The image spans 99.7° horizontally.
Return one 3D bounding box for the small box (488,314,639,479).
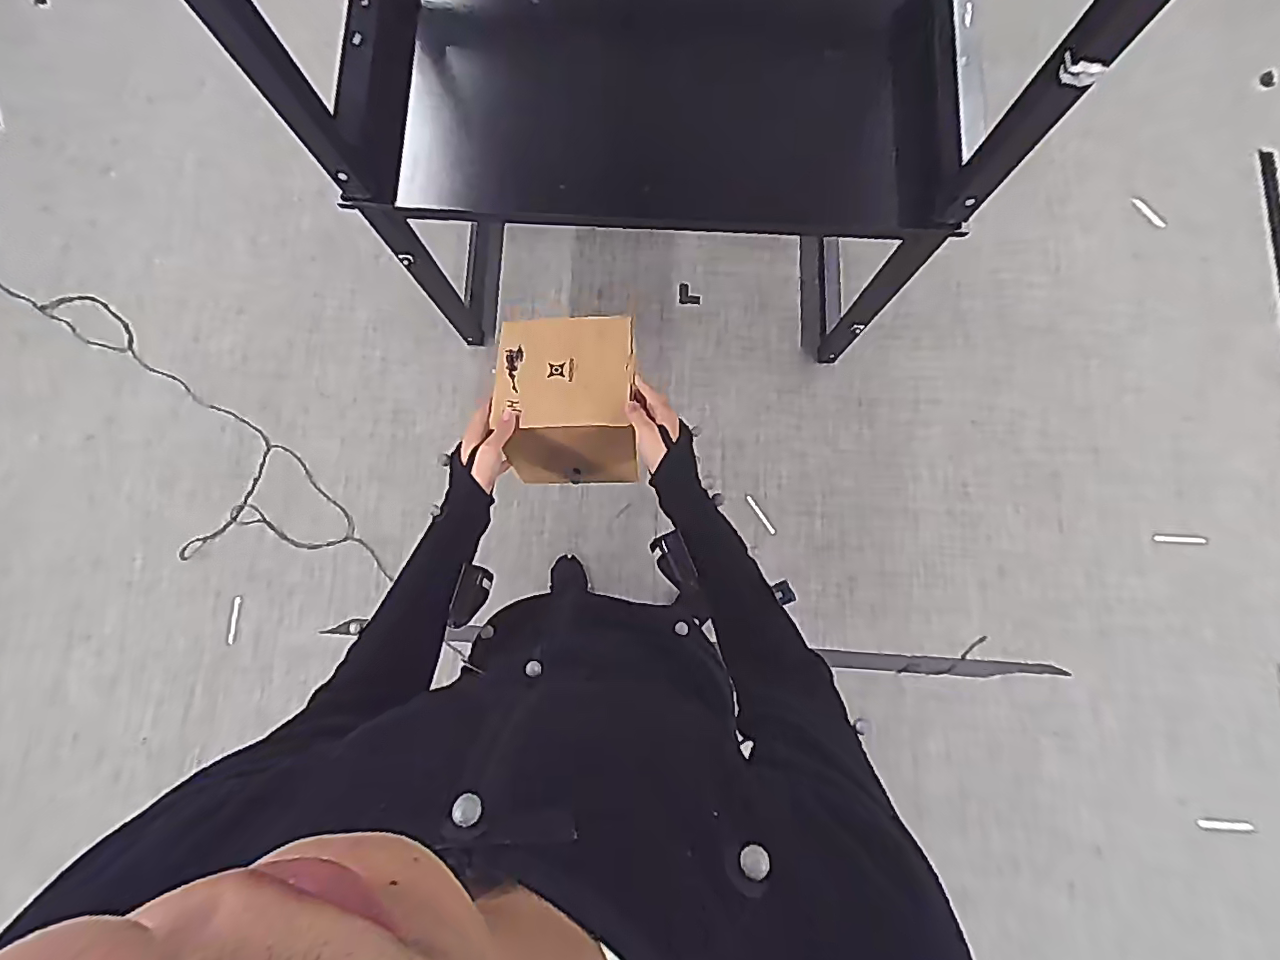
[{"bbox_3d":[-0.092,-0.109,0.749,0.179,0.176,0.168,0,66,3],"label":"small box"}]
